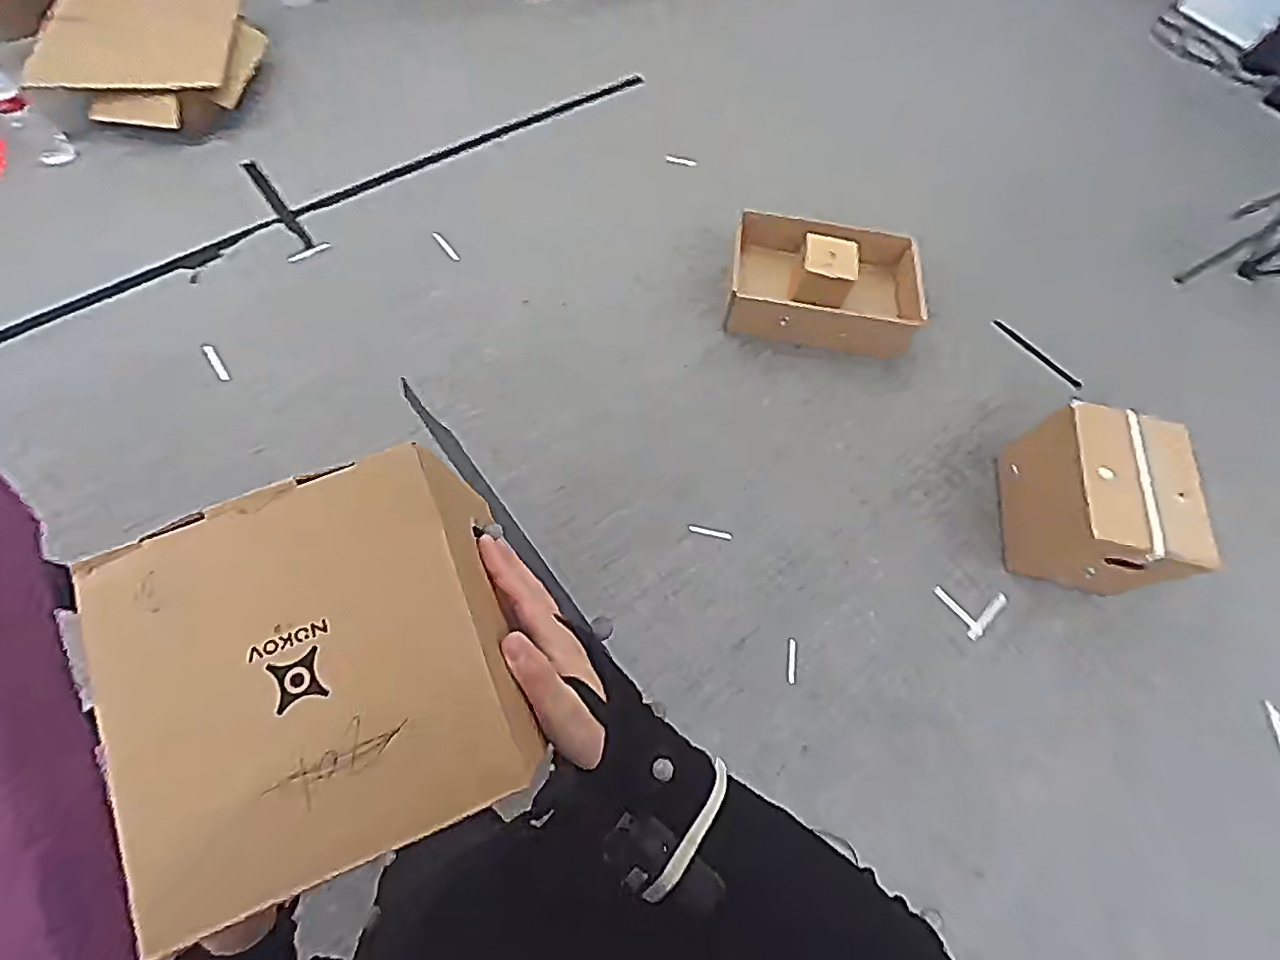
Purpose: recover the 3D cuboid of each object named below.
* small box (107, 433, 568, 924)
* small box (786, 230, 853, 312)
[{"bbox_3d":[-0.151,0.099,0.328,0.168,0.176,0.179,-21,79,-7],"label":"small box"},{"bbox_3d":[0.598,-0.697,1.814,0.168,0.176,0.179,11,65,1],"label":"small box"}]
